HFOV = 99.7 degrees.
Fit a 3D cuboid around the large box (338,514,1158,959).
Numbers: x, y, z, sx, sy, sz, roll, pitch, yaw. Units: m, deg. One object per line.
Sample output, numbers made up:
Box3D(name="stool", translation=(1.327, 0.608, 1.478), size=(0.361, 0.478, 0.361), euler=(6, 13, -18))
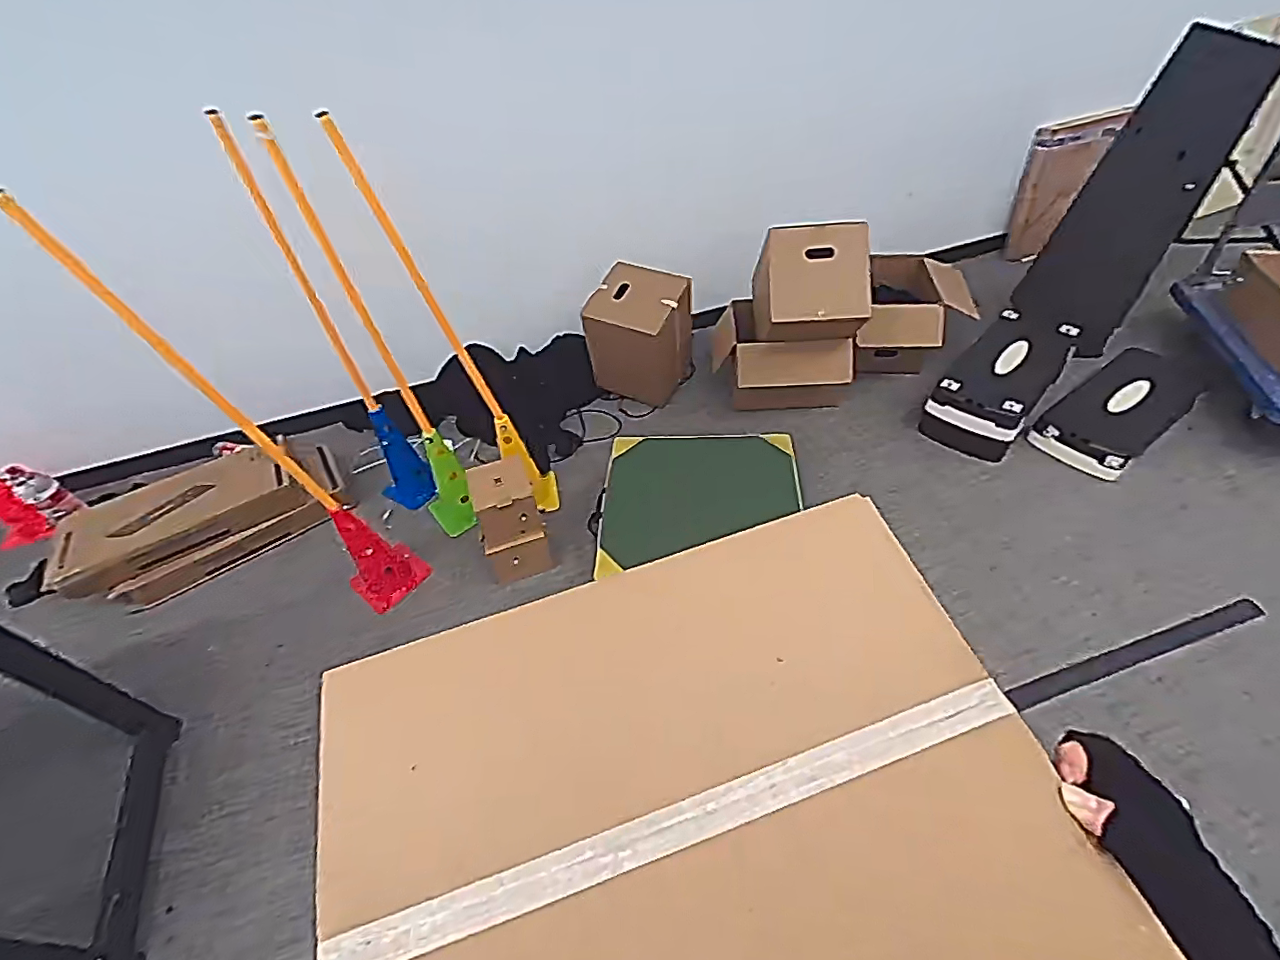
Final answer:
Box3D(name="large box", translation=(0.043, 0.284, 0.433), size=(0.408, 0.320, 0.320), euler=(-18, 56, -6))
